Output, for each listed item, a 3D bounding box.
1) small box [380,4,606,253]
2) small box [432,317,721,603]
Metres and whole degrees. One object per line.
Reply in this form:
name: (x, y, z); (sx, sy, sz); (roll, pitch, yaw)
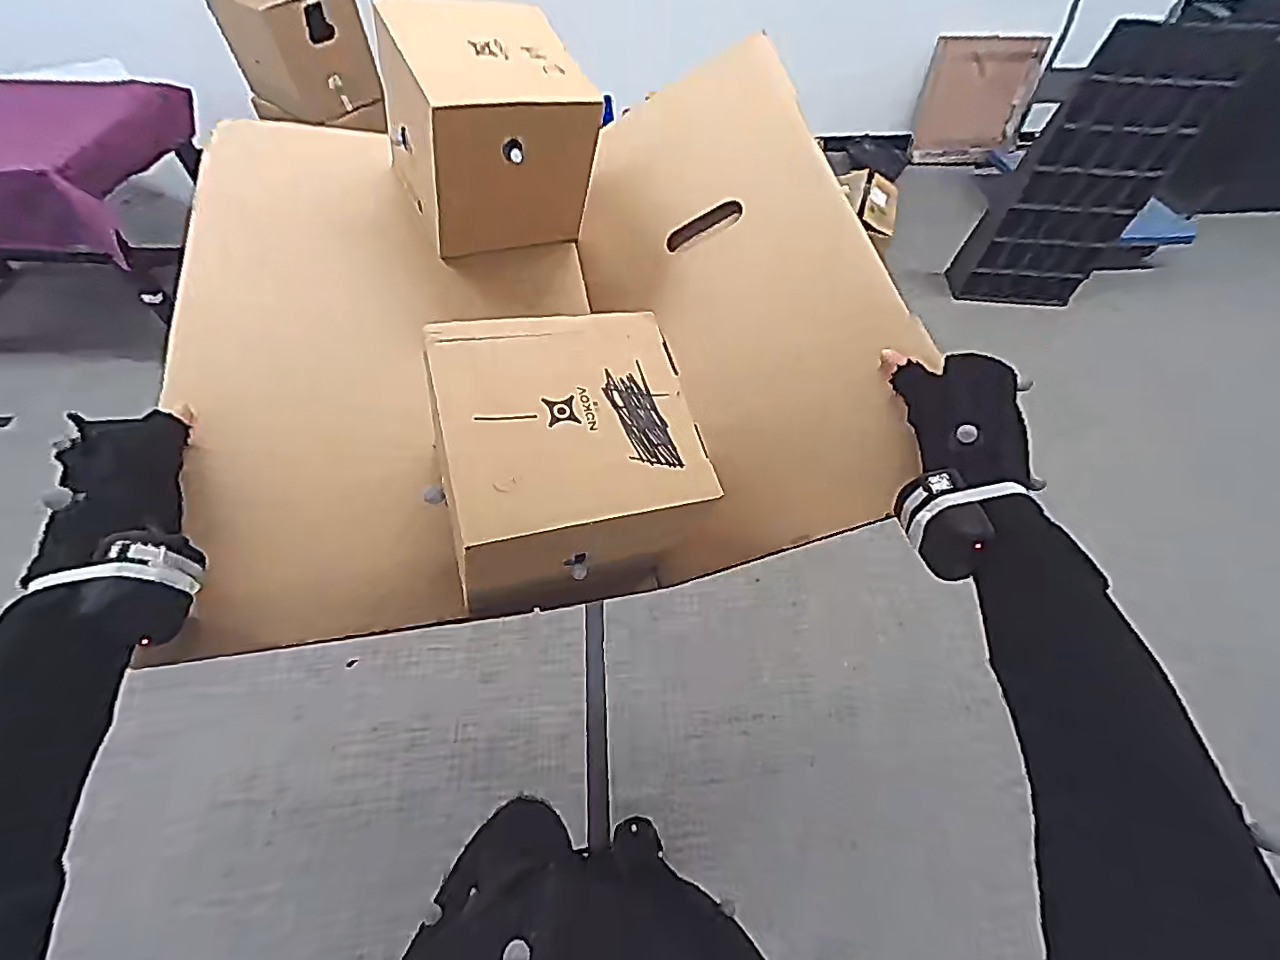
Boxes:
small box: (-0.162, -0.377, 0.598); (0.179, 0.176, 0.168); (-20, 72, -25)
small box: (-0.064, -0.011, 0.444); (0.179, 0.176, 0.168); (-10, 68, -20)
